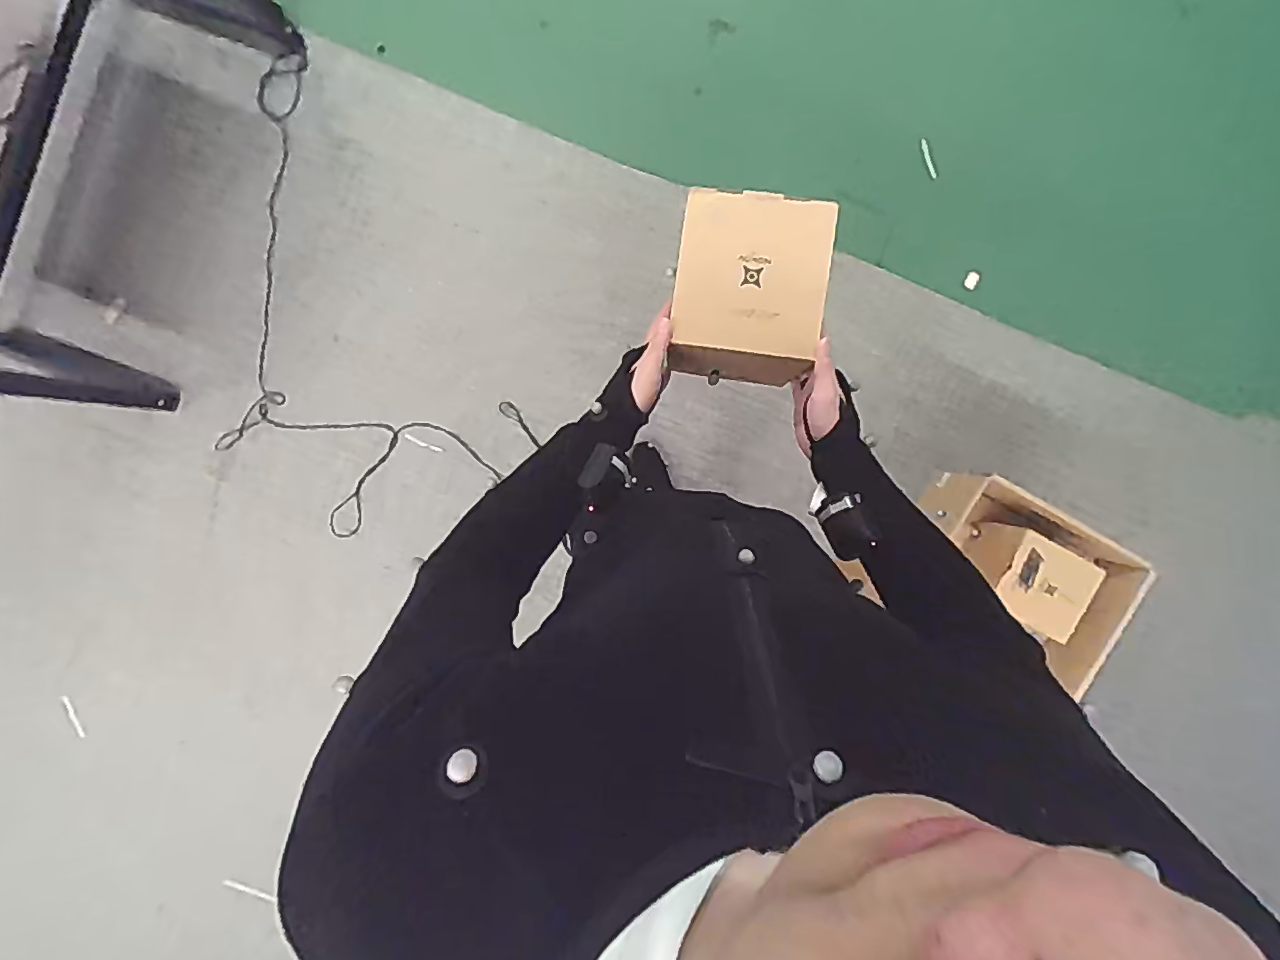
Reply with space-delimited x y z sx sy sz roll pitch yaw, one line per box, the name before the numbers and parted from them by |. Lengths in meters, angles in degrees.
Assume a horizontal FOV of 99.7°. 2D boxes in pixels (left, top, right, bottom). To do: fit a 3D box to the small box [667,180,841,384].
small box | 0.125 -0.226 0.658 0.168 0.176 0.179 8 91 3
